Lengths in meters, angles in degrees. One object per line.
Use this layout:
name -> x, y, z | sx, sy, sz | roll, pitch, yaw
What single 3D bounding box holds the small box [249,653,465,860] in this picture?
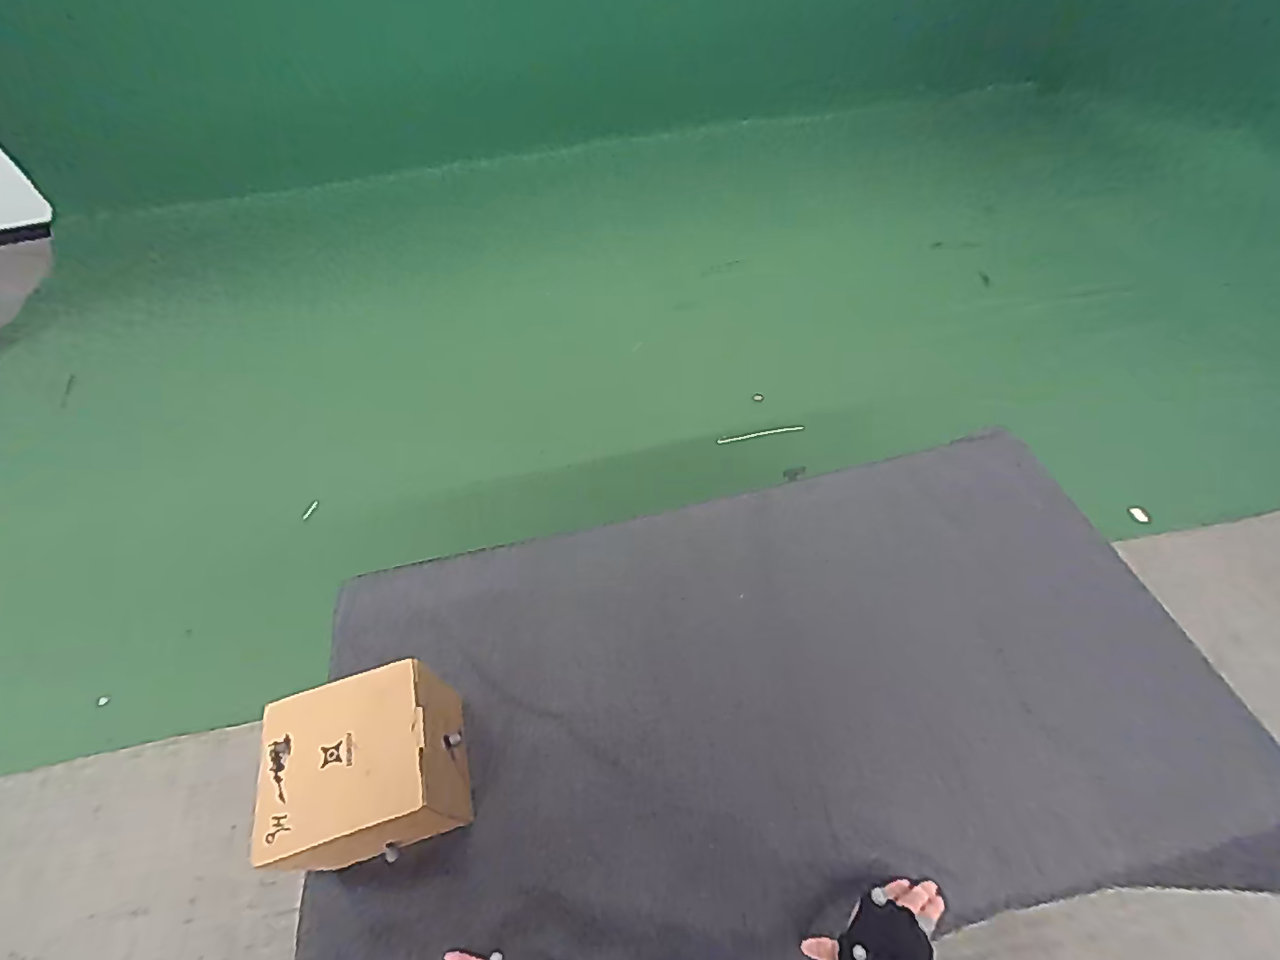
small box -> -0.322, 0.335, 0.653 | 0.179, 0.176, 0.168 | -15, 54, -8
